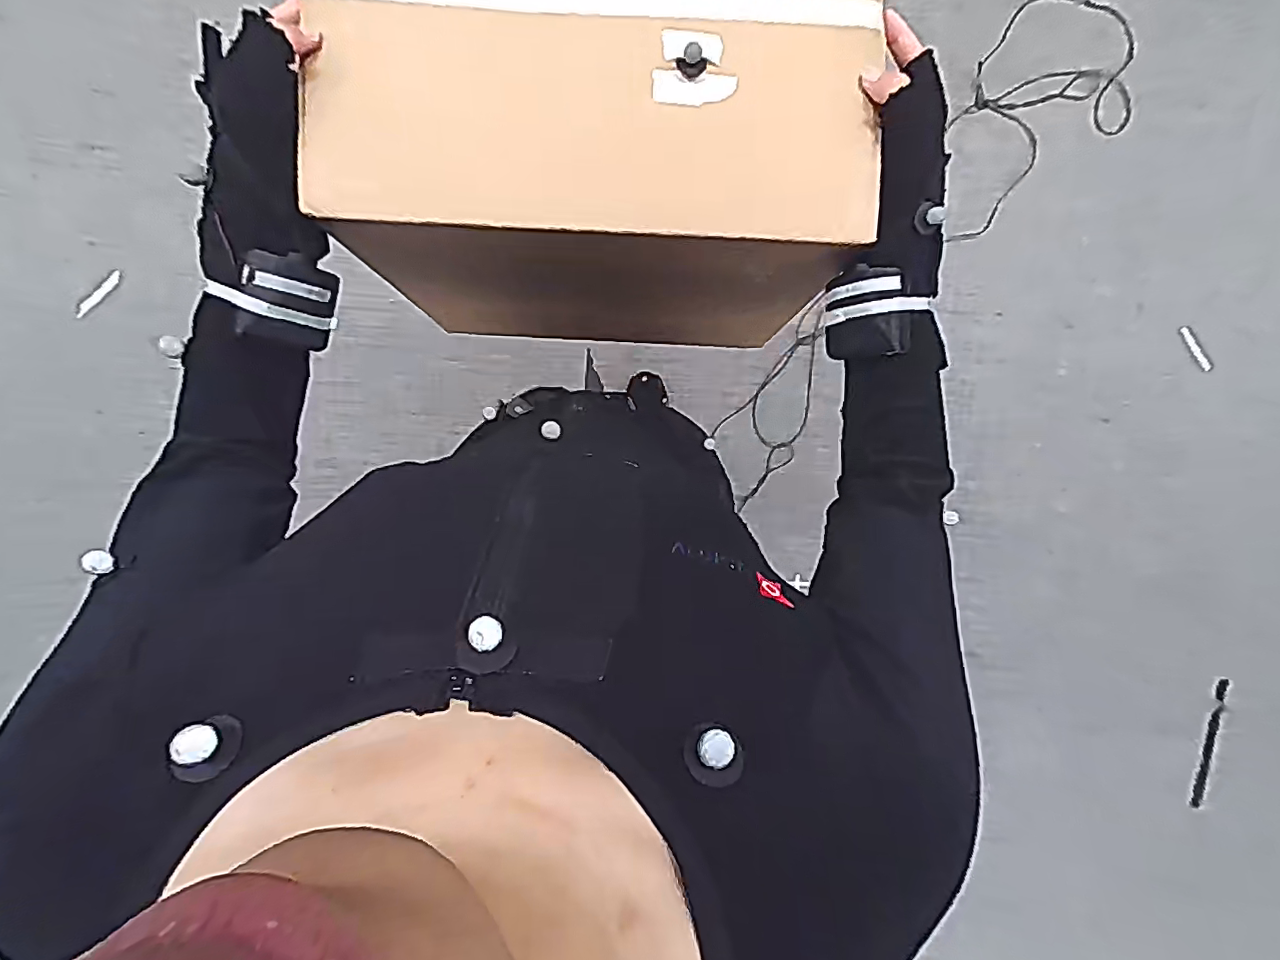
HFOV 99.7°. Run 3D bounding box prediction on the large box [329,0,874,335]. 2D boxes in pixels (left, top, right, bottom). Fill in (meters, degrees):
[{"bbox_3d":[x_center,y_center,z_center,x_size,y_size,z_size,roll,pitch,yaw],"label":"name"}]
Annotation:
[{"bbox_3d":[-0.030,-0.342,0.545,0.408,0.320,0.320,2,90,-2],"label":"large box"}]
